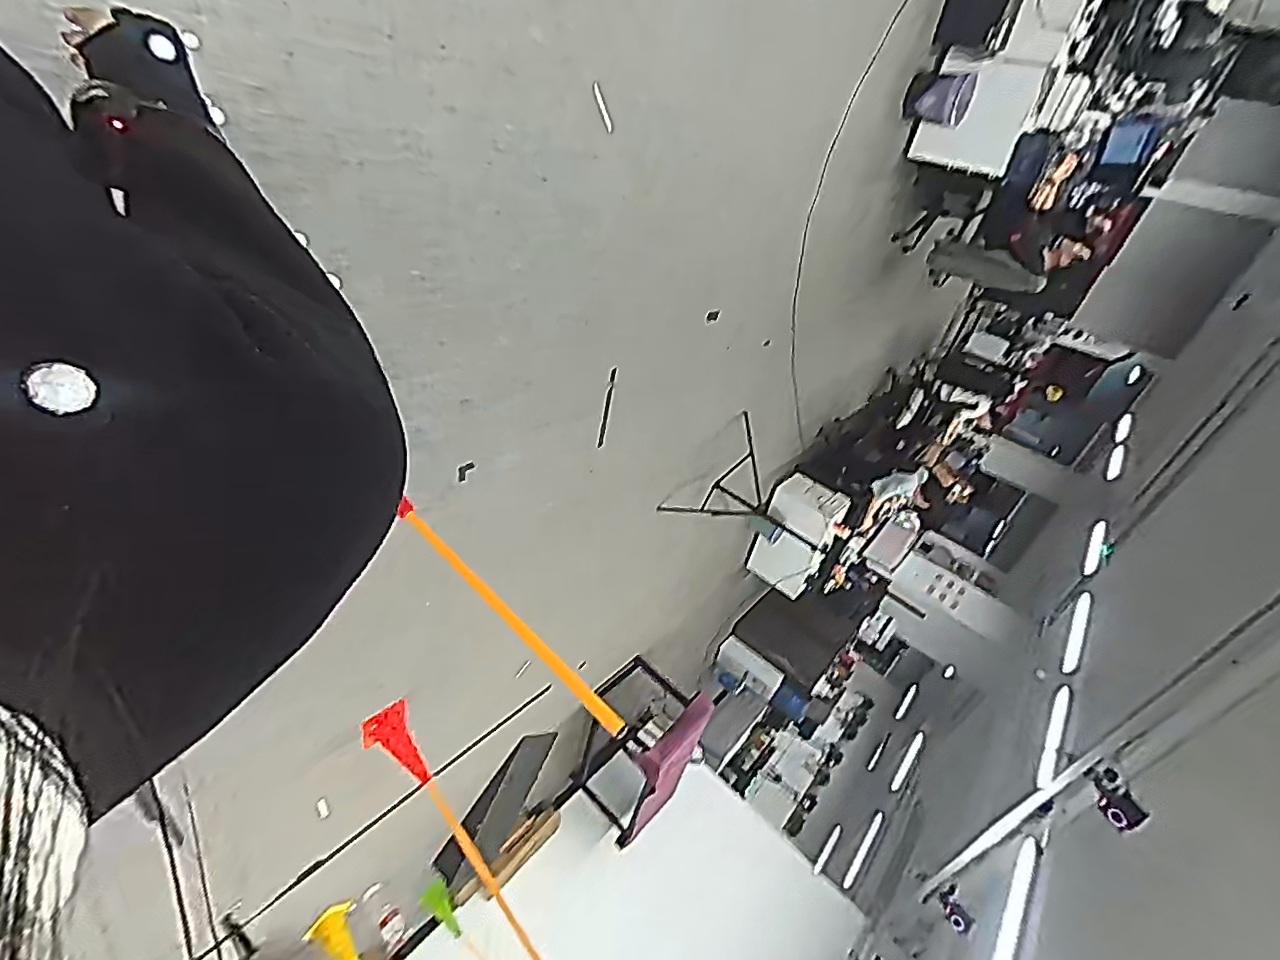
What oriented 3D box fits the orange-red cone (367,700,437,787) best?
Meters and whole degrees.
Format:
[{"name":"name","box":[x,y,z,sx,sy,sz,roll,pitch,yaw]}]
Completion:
[{"name":"orange-red cone","box":[-0.970,1.151,2.285,0.198,0.360,0.199,-23,138,-45]}]
